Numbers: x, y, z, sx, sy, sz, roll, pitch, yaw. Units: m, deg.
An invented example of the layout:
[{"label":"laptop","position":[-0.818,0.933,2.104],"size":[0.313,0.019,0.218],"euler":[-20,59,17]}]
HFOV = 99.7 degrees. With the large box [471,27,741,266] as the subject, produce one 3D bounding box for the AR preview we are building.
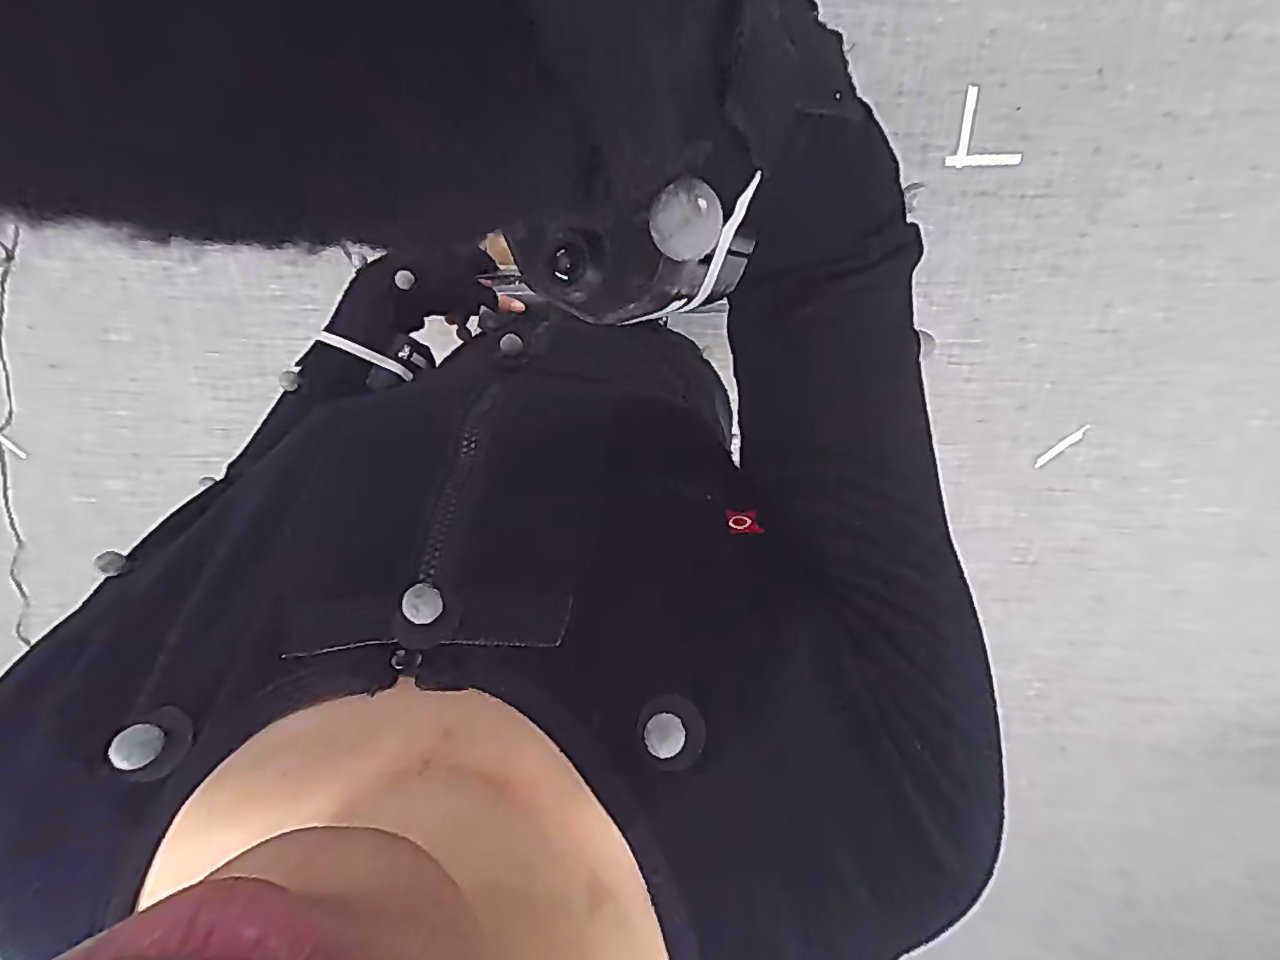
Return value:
[{"label":"large box","position":[-0.051,-0.566,0.983],"size":[0.408,0.320,0.320],"euler":[-2,111,-1]}]
